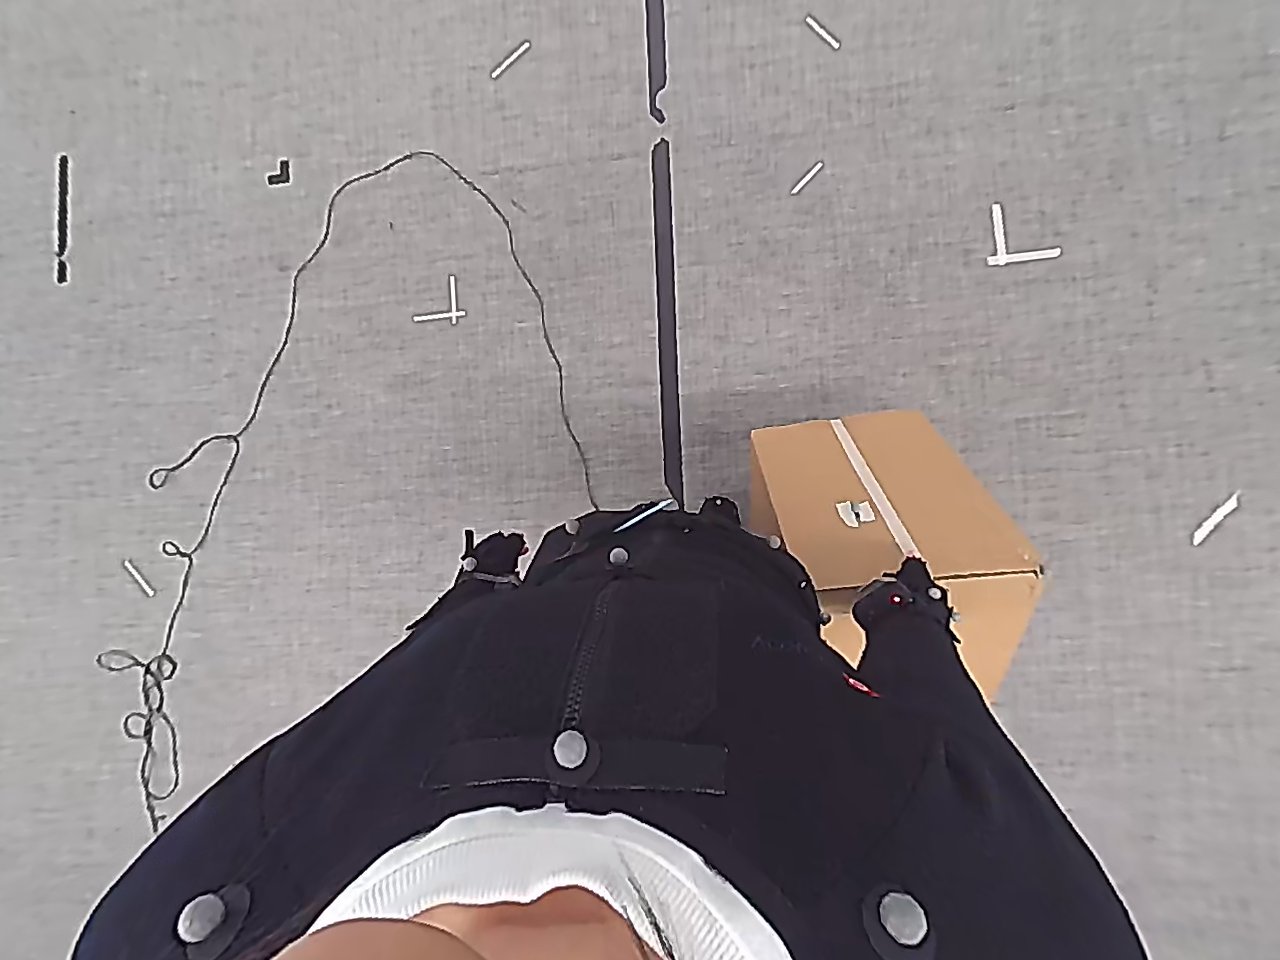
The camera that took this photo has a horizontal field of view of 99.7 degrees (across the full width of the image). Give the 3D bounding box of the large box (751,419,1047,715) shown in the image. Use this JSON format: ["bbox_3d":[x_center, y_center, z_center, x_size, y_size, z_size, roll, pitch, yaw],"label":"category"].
[{"bbox_3d":[0.382,0.136,0.943,0.320,0.408,0.320,-6,127,4],"label":"large box"}]
